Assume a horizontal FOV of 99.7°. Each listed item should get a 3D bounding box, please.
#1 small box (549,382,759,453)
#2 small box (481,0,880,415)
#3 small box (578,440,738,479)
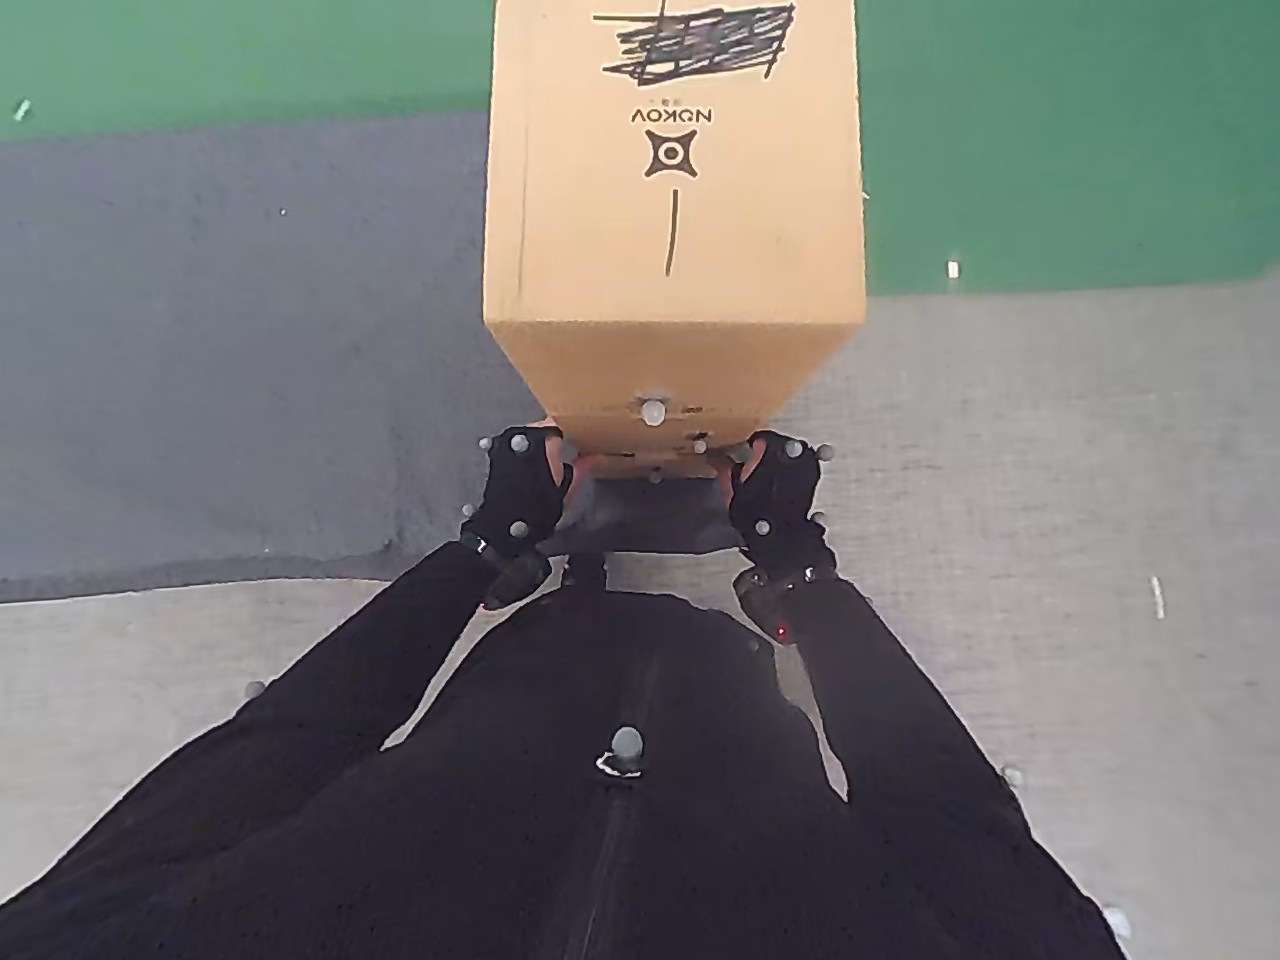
[{"bbox_3d":[0.018,-0.123,0.475,0.168,0.176,0.179,0,79,1],"label":"small box"},{"bbox_3d":[0.018,-0.146,0.312,0.168,0.176,0.179,0,82,1],"label":"small box"},{"bbox_3d":[0.021,-0.095,0.635,0.168,0.176,0.179,-1,81,1],"label":"small box"}]
